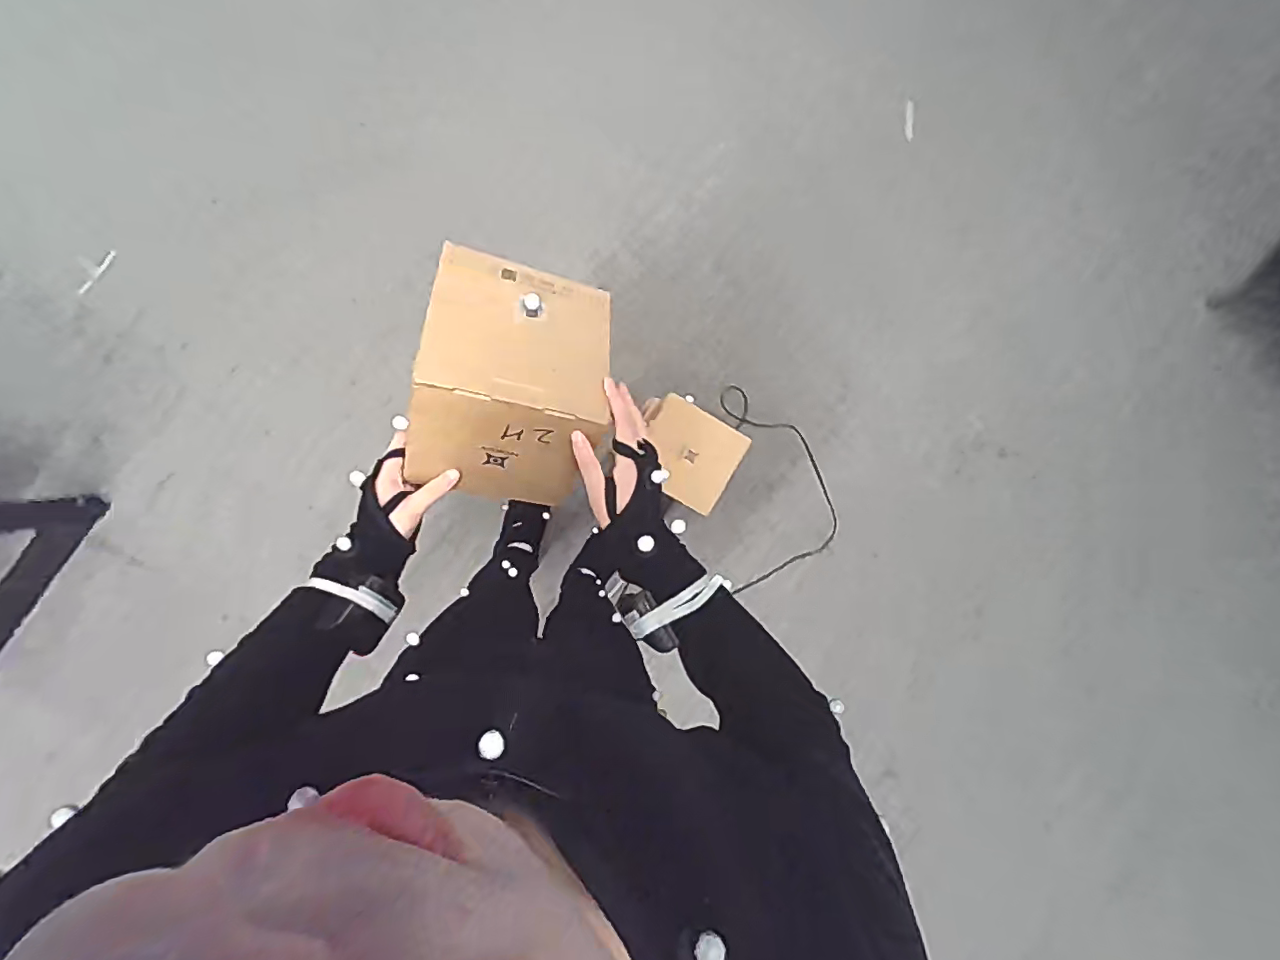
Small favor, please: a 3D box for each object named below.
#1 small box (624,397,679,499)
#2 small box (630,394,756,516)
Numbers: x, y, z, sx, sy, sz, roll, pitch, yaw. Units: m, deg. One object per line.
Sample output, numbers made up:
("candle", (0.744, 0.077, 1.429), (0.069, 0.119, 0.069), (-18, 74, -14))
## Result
("small box", (0.075, -0.066, 1.223), (0.168, 0.176, 0.179), (28, 91, -4))
("small box", (0.095, -0.050, 1.061), (0.179, 0.176, 0.168), (31, 91, -3))
